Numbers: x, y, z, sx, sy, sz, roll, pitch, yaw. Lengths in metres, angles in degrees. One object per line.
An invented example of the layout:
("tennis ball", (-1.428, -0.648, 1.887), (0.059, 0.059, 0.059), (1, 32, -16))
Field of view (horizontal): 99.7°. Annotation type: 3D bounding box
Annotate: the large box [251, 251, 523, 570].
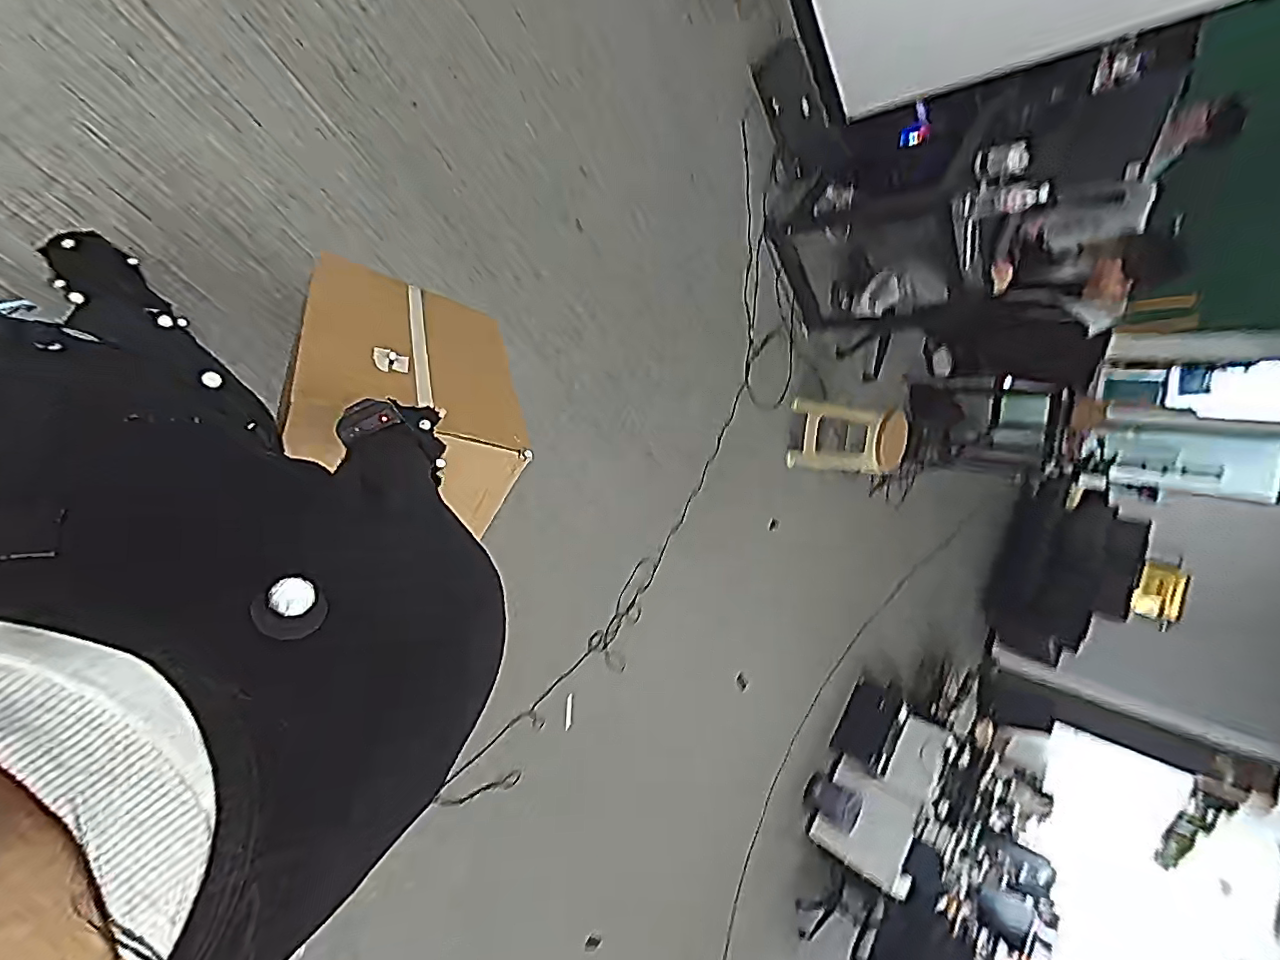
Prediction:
("large box", (-0.434, -0.105, 0.920), (0.320, 0.408, 0.320), (10, 132, -34))
